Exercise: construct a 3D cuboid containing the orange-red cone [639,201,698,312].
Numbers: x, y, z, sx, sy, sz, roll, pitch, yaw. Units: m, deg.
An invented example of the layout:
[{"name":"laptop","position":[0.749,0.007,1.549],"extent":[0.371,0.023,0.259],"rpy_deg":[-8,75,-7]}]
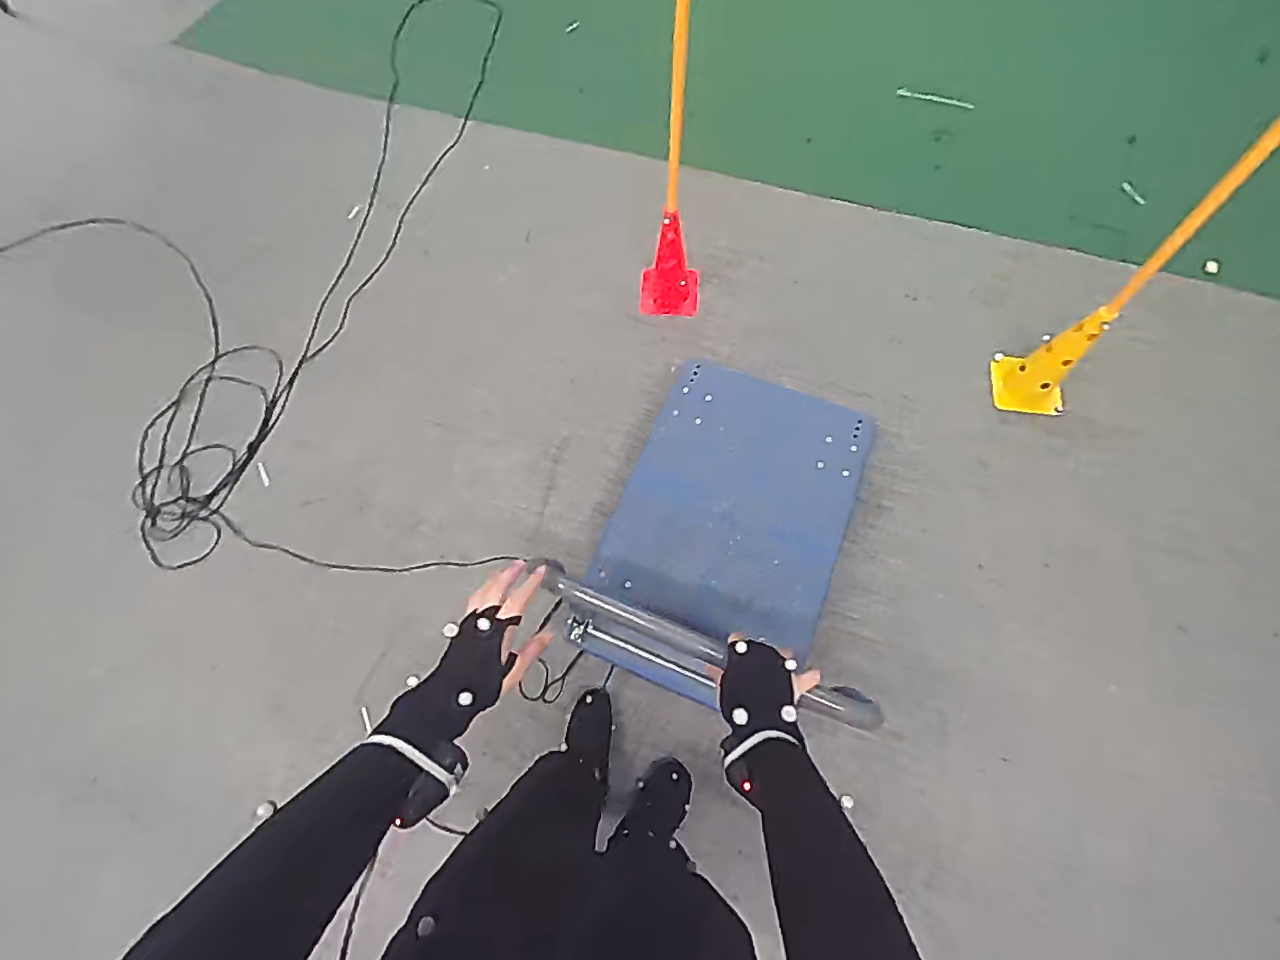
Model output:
[{"name":"orange-red cone","position":[0.091,-0.730,1.726],"extent":[0.199,0.360,0.198],"rpy_deg":[3,69,5]}]
